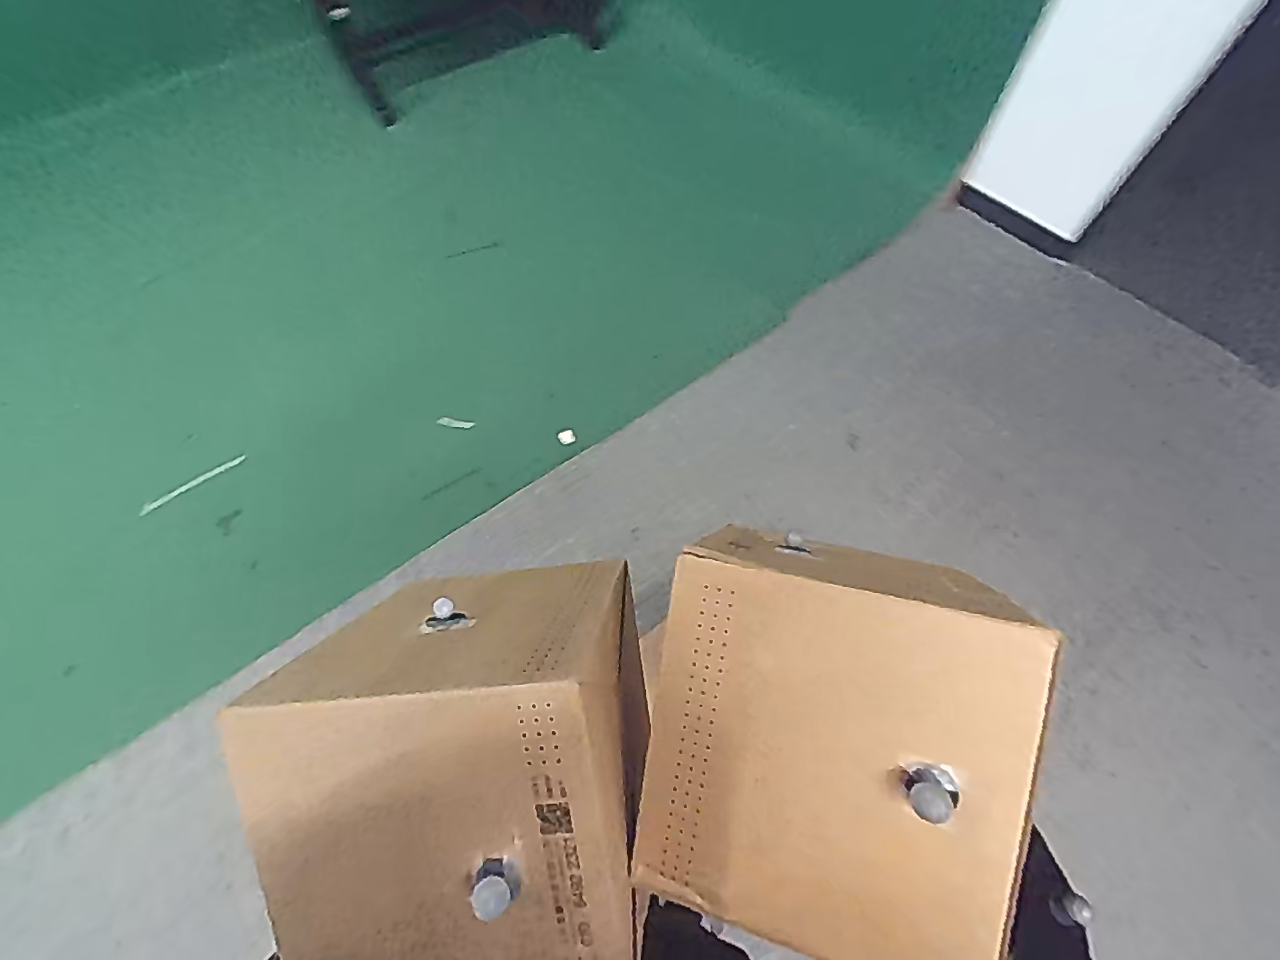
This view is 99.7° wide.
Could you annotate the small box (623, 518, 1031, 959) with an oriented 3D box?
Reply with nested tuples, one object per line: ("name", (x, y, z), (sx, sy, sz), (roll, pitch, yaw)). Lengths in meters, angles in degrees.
("small box", (0.097, 0.125, 0.326), (0.176, 0.168, 0.179), (8, 92, 17))
